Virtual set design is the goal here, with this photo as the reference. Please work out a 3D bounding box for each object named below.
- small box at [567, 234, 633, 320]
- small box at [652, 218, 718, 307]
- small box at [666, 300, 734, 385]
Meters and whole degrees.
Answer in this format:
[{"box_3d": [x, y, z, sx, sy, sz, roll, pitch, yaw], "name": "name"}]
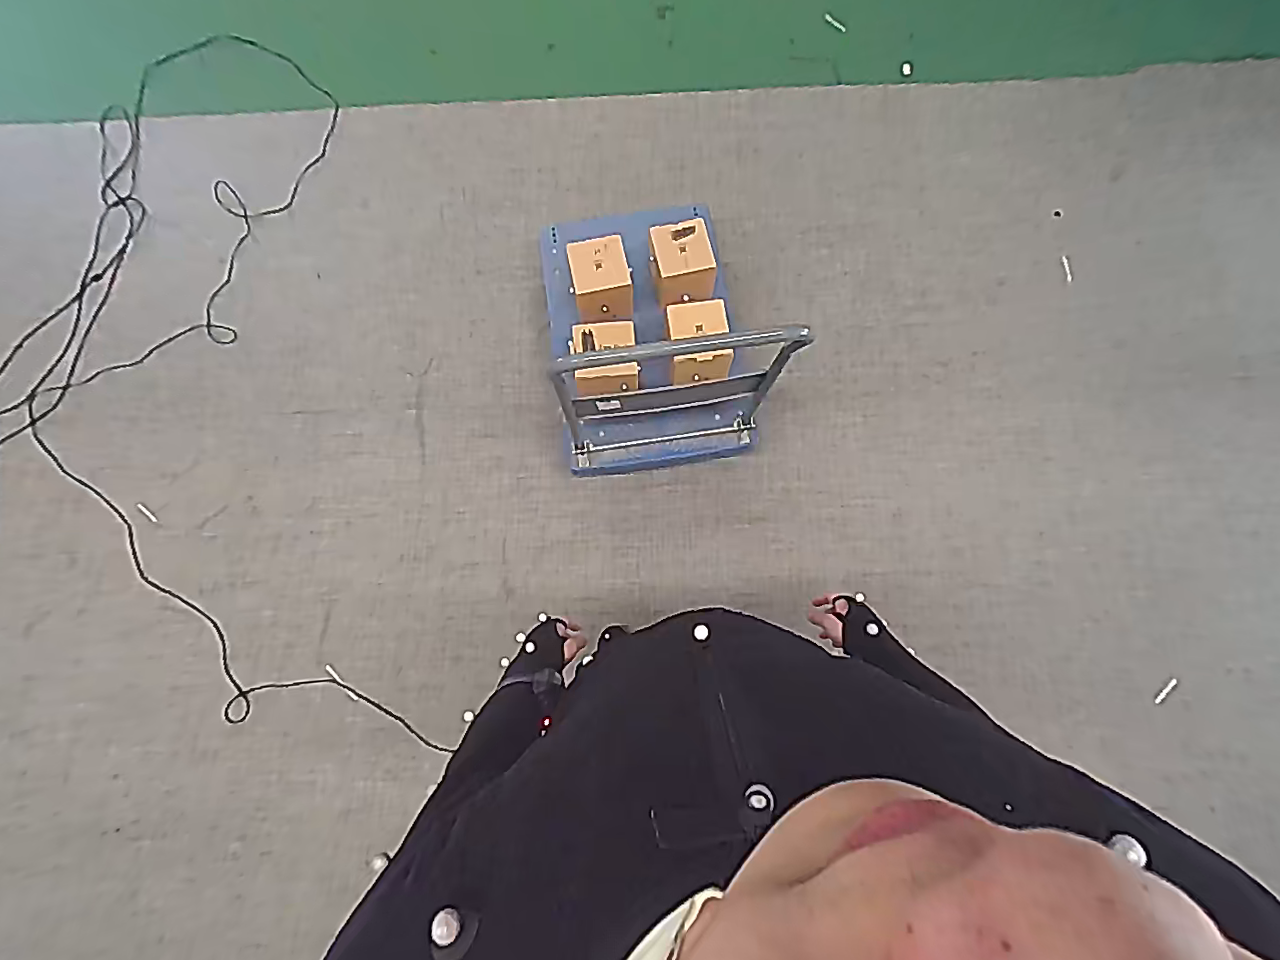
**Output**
[{"box_3d": [-0.116, -0.605, 1.638, 0.168, 0.176, 0.179, -11, 76, -3], "name": "small box"}, {"box_3d": [0.130, -0.658, 1.648, 0.168, 0.176, 0.179, -12, 77, -1], "name": "small box"}, {"box_3d": [0.170, -0.399, 1.582, 0.168, 0.176, 0.179, -7, 76, -1], "name": "small box"}]
